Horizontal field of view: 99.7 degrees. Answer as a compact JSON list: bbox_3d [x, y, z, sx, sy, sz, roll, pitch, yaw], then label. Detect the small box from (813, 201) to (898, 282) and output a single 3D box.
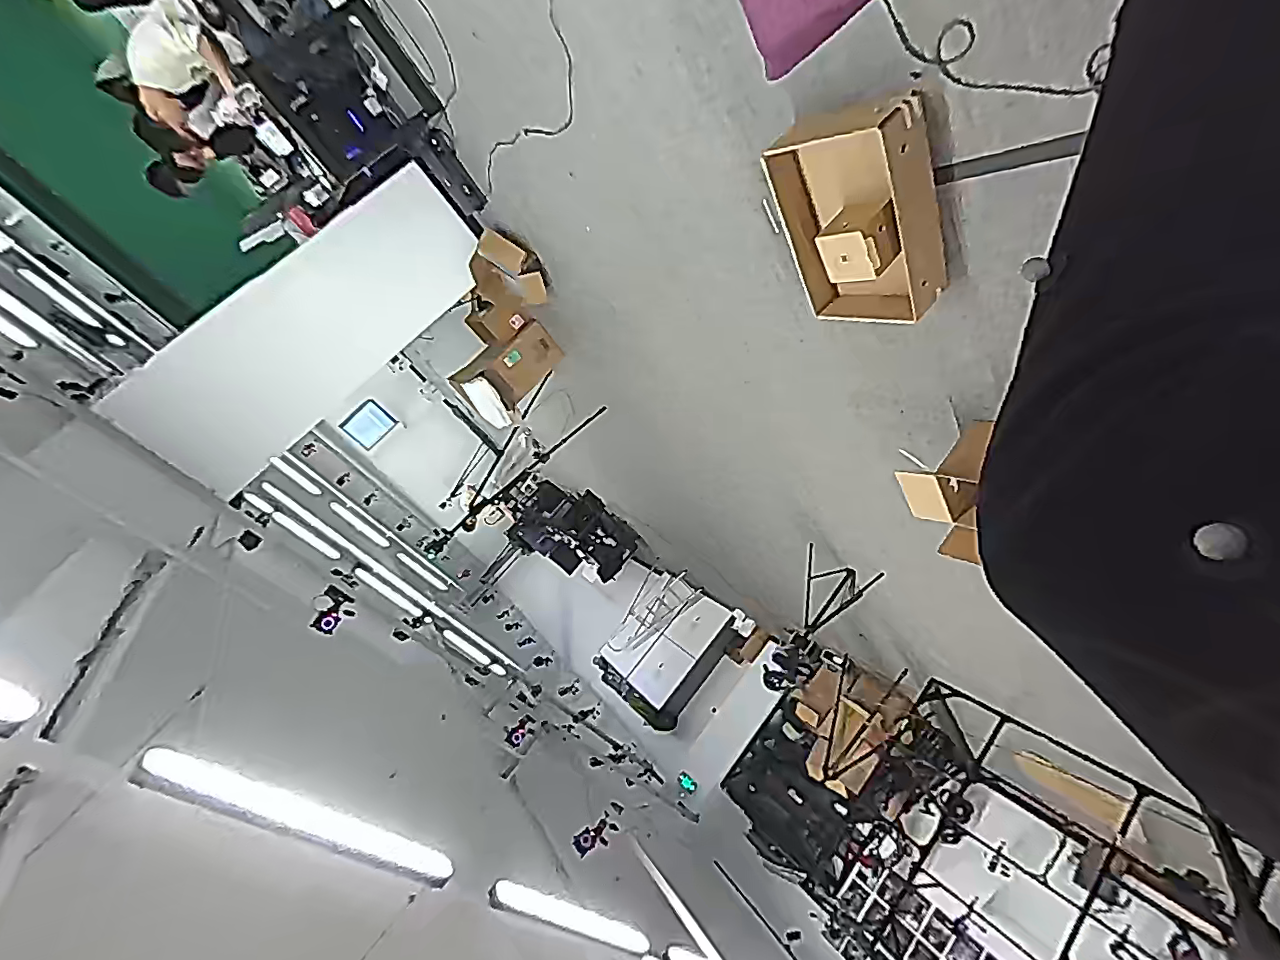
[{"bbox_3d":[0.685,-0.750,1.700,0.179,0.176,0.168,22,154,53],"label":"small box"}]
